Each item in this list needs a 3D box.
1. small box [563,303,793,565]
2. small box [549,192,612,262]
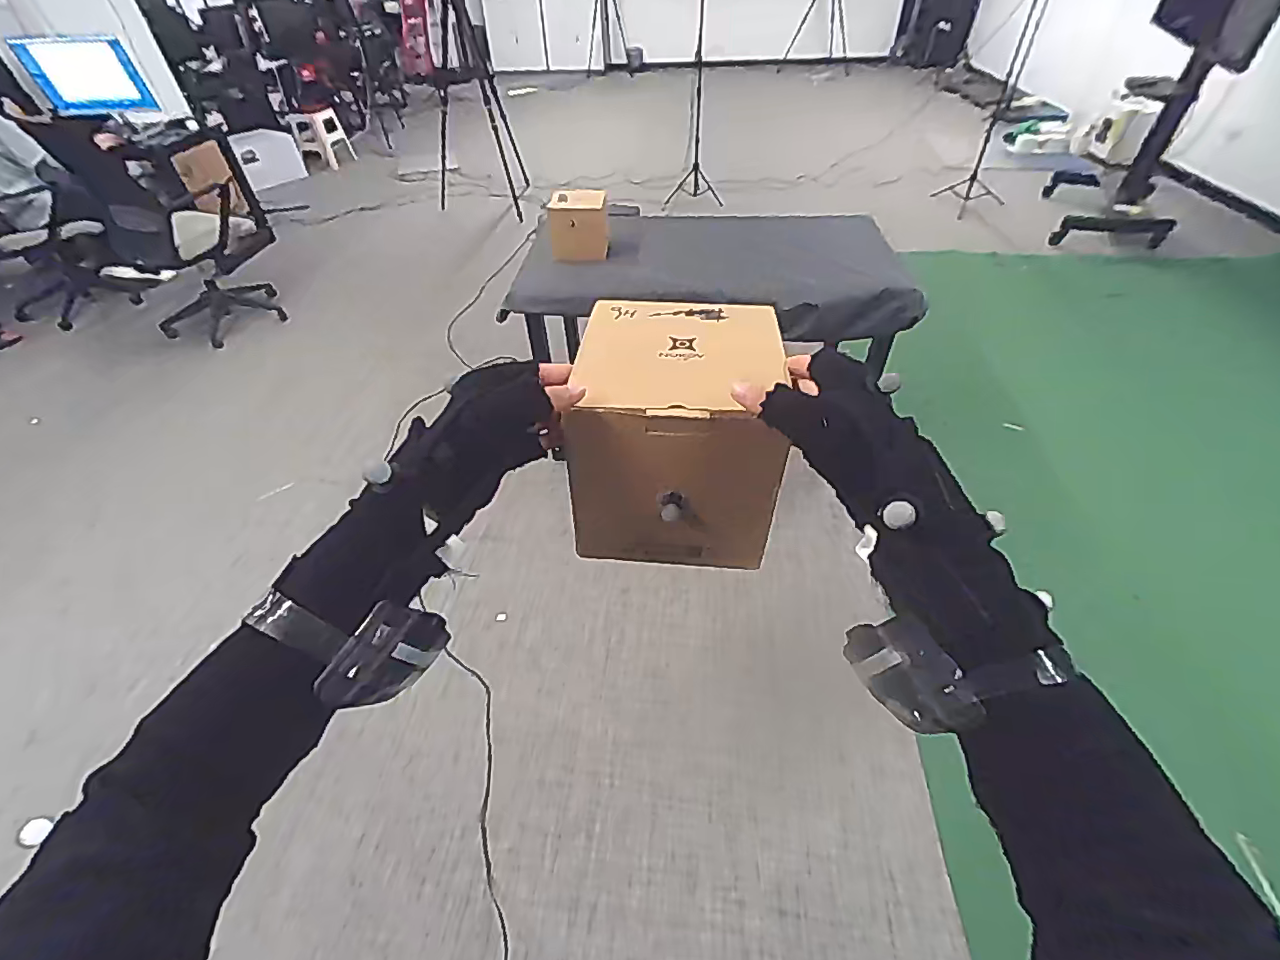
[{"bbox_3d":[0.035,-0.042,0.490,0.168,0.176,0.179,4,44,4],"label":"small box"},{"bbox_3d":[-0.191,-0.835,1.786,0.179,0.176,0.168,2,45,2],"label":"small box"}]
